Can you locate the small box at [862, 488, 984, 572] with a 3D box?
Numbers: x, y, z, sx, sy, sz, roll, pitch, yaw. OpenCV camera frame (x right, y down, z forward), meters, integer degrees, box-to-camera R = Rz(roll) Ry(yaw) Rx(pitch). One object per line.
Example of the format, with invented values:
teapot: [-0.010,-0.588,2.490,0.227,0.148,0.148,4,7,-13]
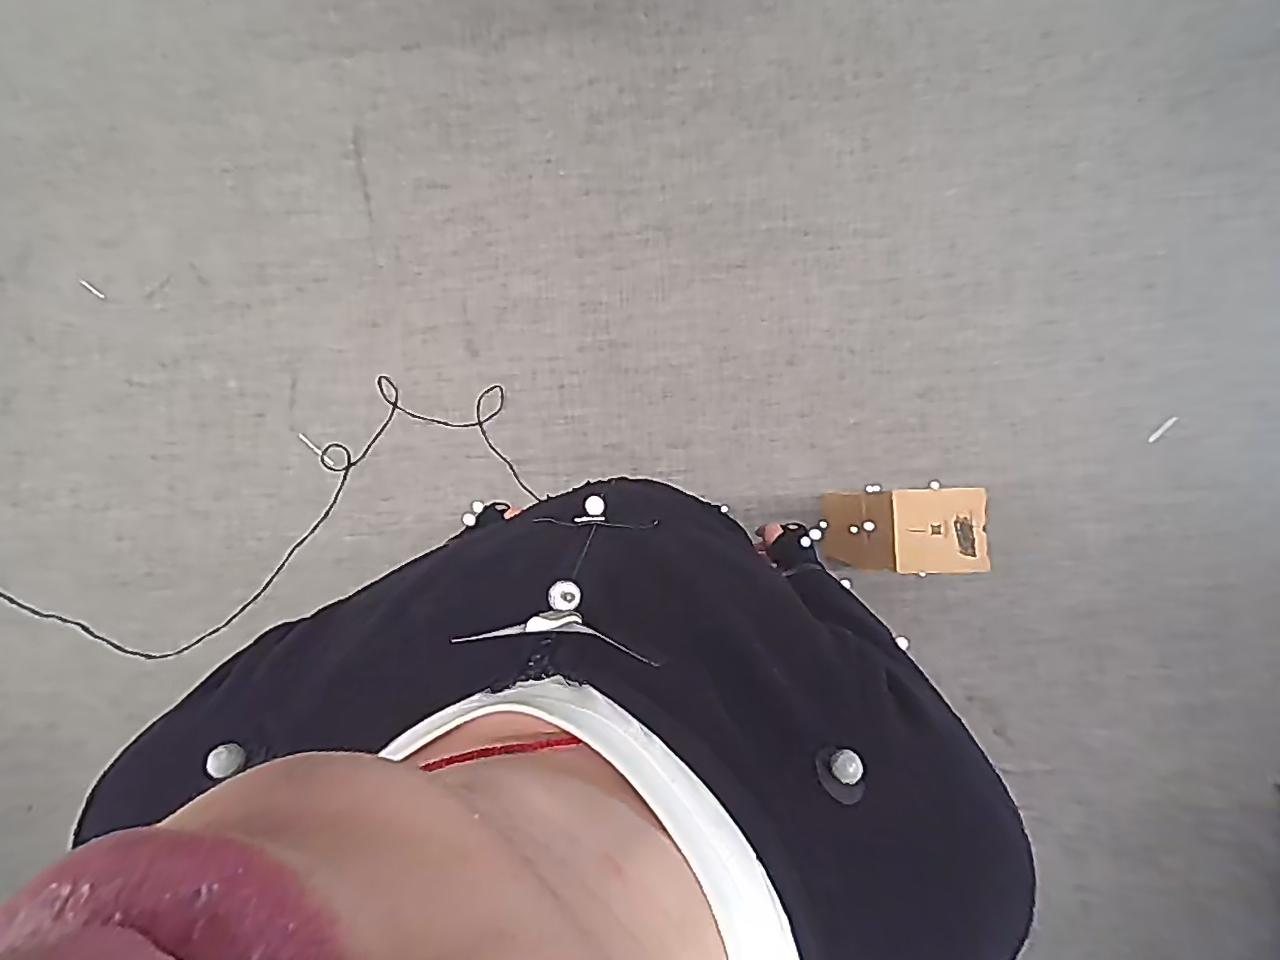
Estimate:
small box: [0.584,0.099,1.134,0.179,0.176,0.168,-1,88,4]

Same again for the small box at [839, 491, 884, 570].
small box: [0.586,0.113,1.300,0.168,0.176,0.179,-3,91,3]

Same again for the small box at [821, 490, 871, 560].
small box: [0.594,0.116,1.461,0.168,0.176,0.179,-2,89,2]
